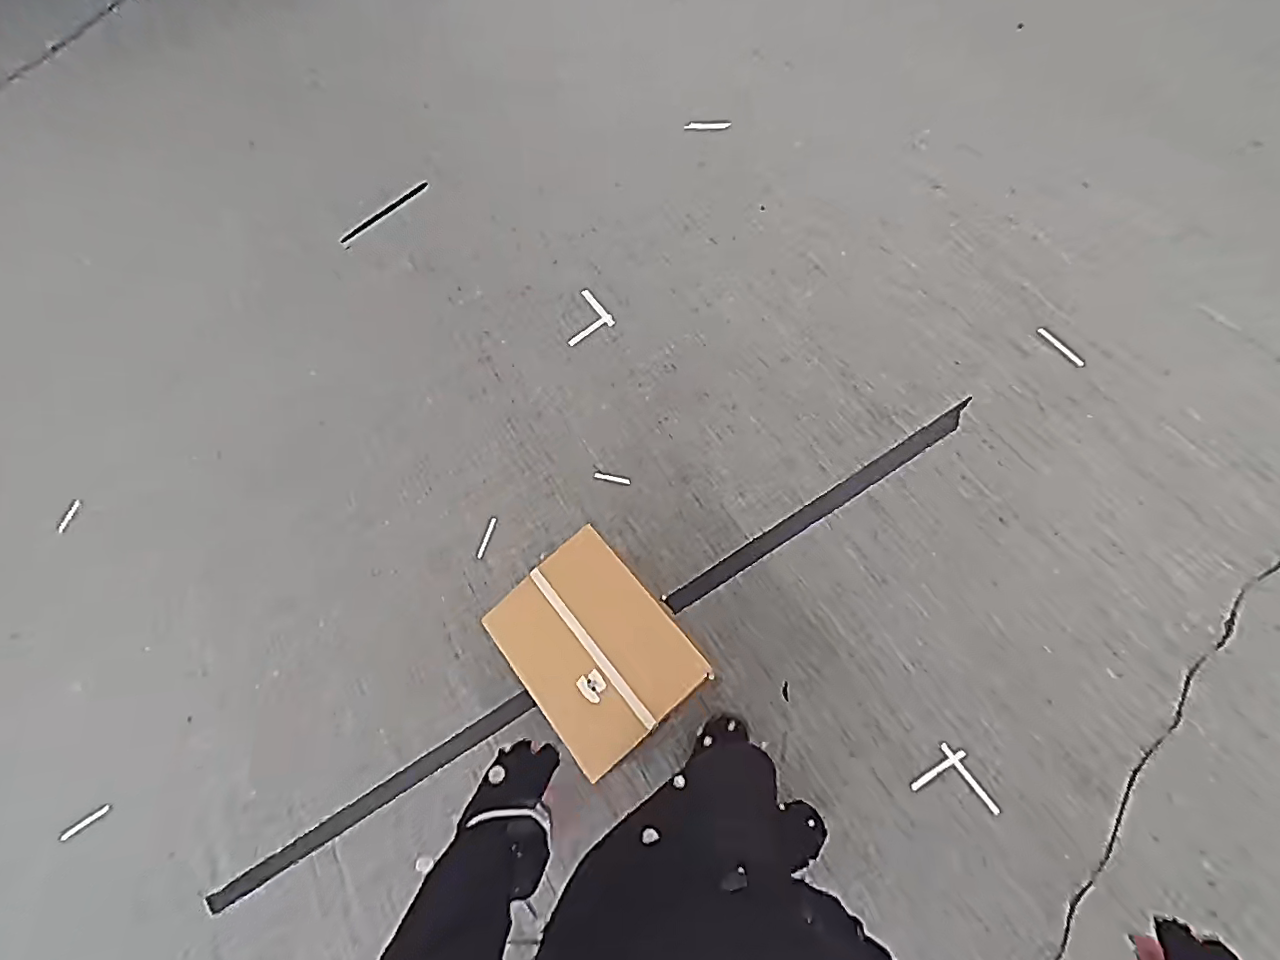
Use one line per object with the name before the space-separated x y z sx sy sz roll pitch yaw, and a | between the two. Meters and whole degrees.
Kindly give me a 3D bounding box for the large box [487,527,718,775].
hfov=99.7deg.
large box | -0.068 0.378 1.246 0.320 0.320 0.408 -42 69 -4
